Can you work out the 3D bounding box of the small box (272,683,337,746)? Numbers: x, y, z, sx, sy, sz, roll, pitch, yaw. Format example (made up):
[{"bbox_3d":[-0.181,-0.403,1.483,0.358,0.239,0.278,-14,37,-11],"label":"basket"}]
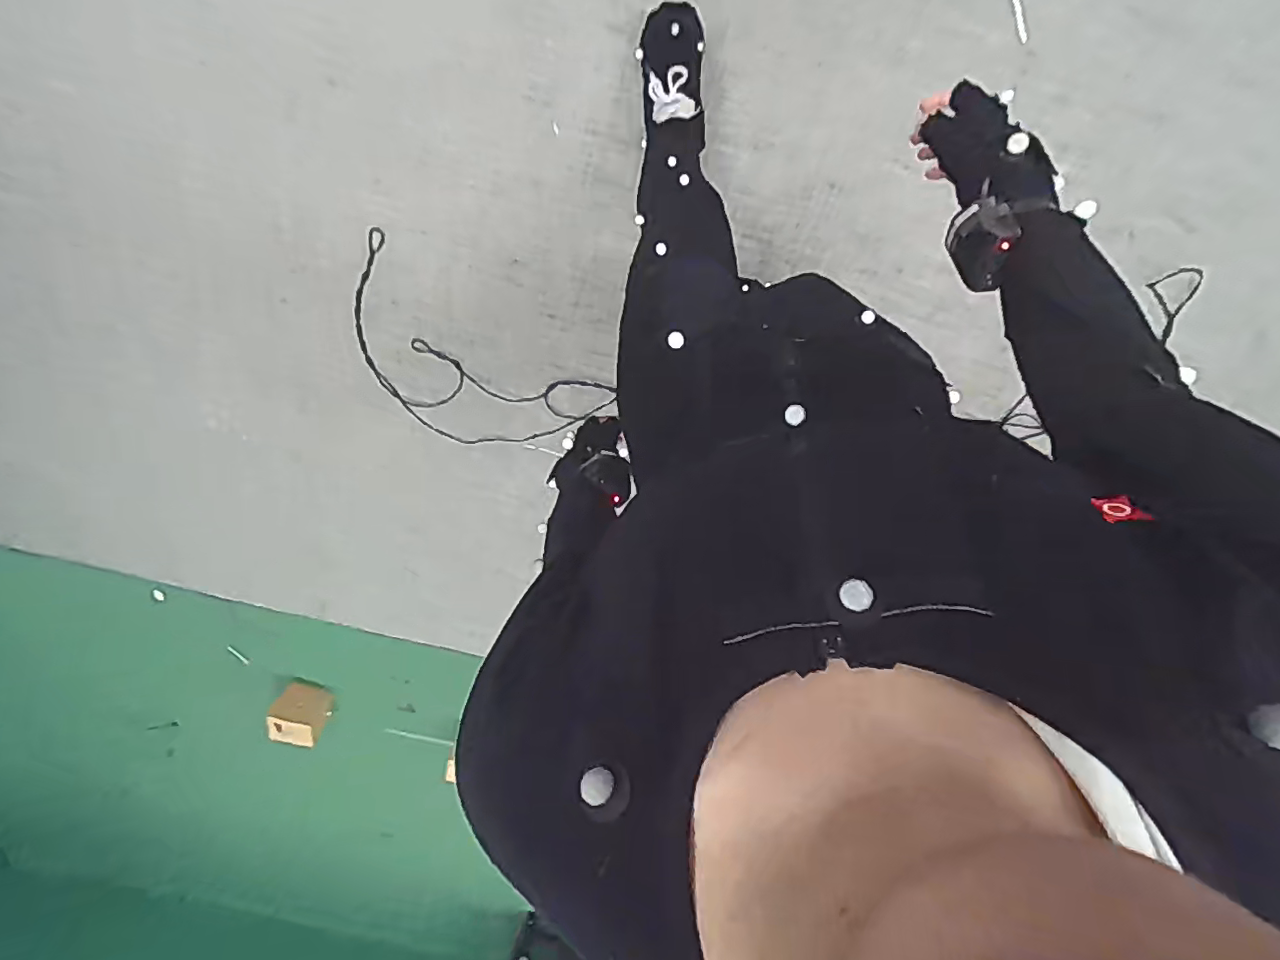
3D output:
[{"bbox_3d":[-1.411,0.984,2.280,0.179,0.176,0.168,16,123,-6],"label":"small box"}]
